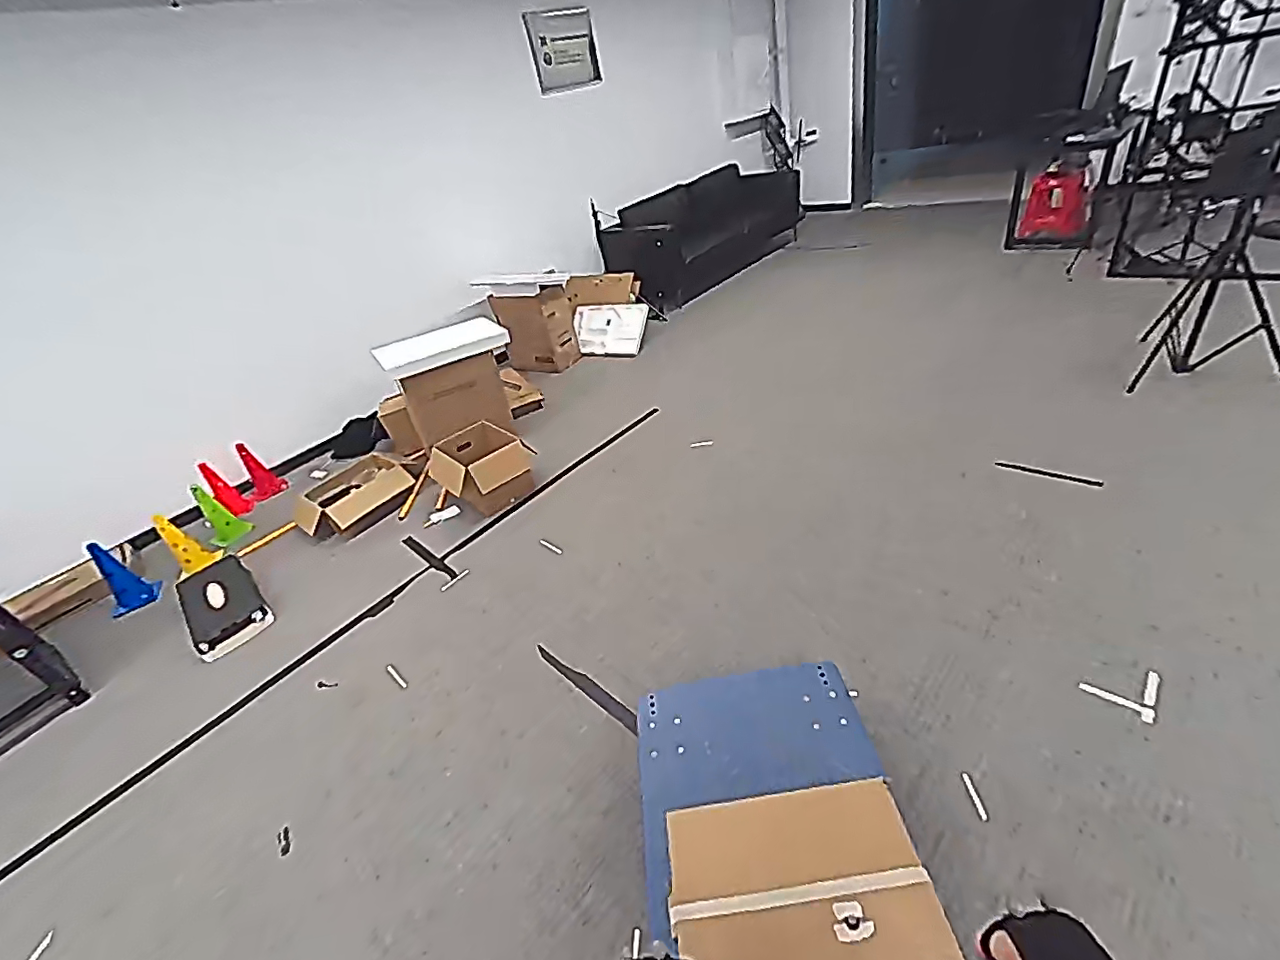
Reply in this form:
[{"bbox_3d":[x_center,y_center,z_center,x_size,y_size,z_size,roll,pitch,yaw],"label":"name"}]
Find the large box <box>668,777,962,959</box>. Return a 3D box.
[{"bbox_3d":[0.281,0.785,0.949,0.408,0.320,0.320,-10,34,2],"label":"large box"}]
